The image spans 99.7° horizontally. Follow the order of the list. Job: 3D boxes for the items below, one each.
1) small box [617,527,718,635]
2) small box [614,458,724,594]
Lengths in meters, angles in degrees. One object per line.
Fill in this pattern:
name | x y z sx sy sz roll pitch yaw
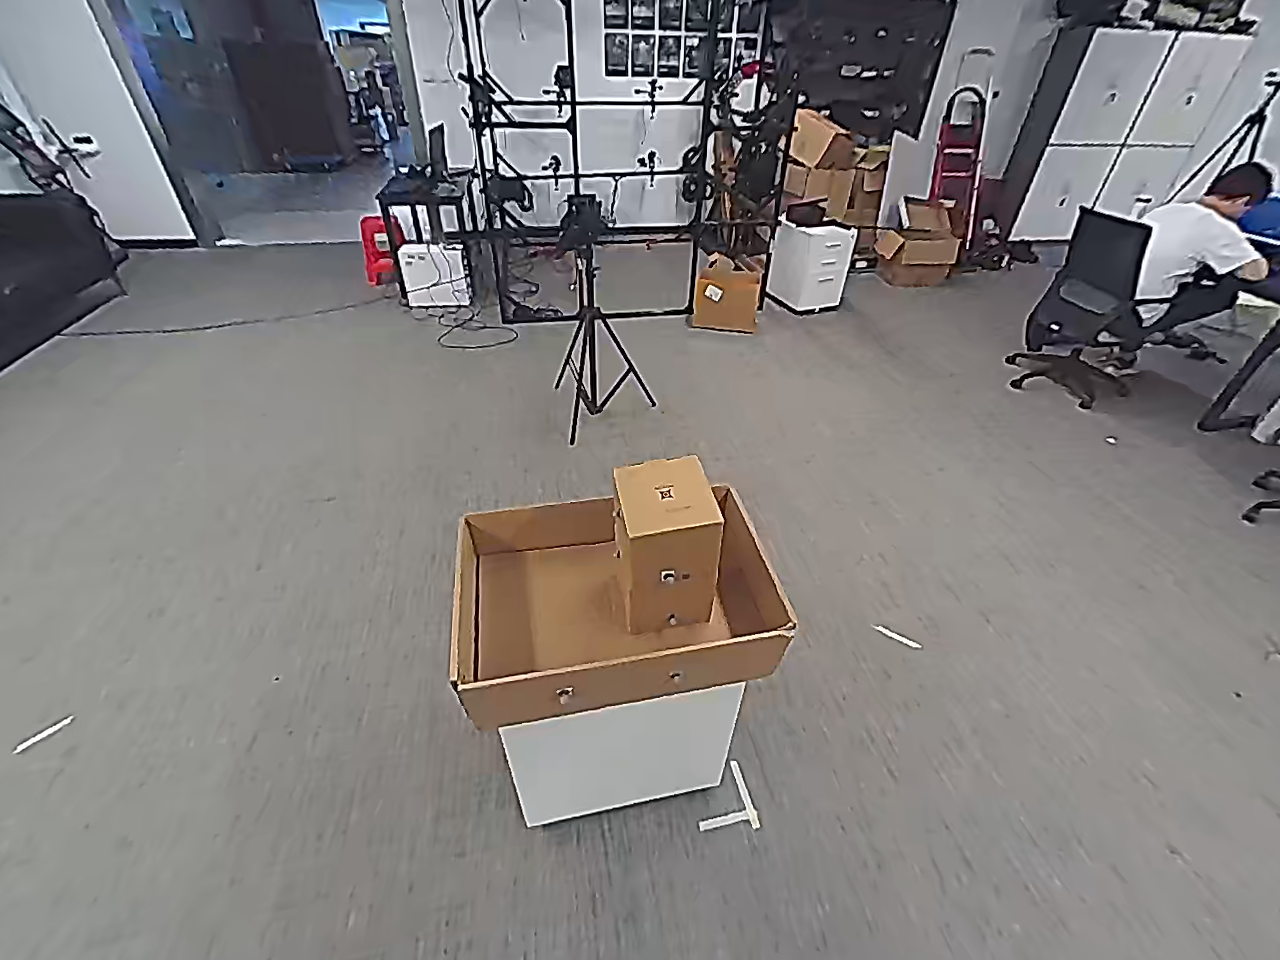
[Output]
small box | 0.048 0.200 1.129 0.179 0.176 0.168 -8 43 -9
small box | 0.047 0.086 1.011 0.168 0.176 0.179 -10 45 -7
